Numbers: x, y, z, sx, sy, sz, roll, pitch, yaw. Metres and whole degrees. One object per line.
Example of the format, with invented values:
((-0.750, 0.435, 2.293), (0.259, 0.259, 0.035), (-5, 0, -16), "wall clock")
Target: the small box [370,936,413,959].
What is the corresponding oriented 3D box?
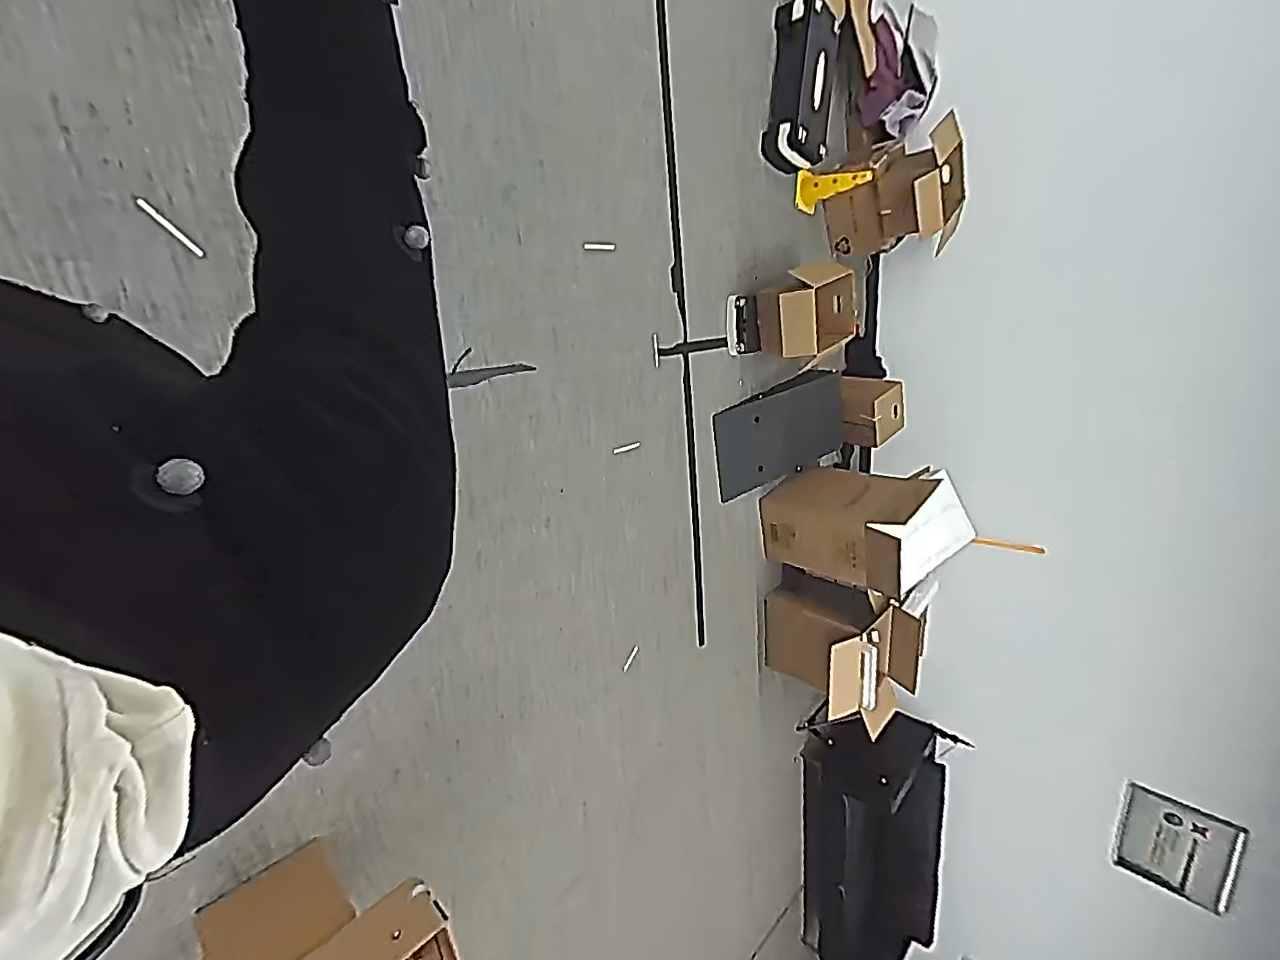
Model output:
((-0.634, 1.316, 1.348), (0.179, 0.176, 0.168), (-28, 119, -41), "small box")
